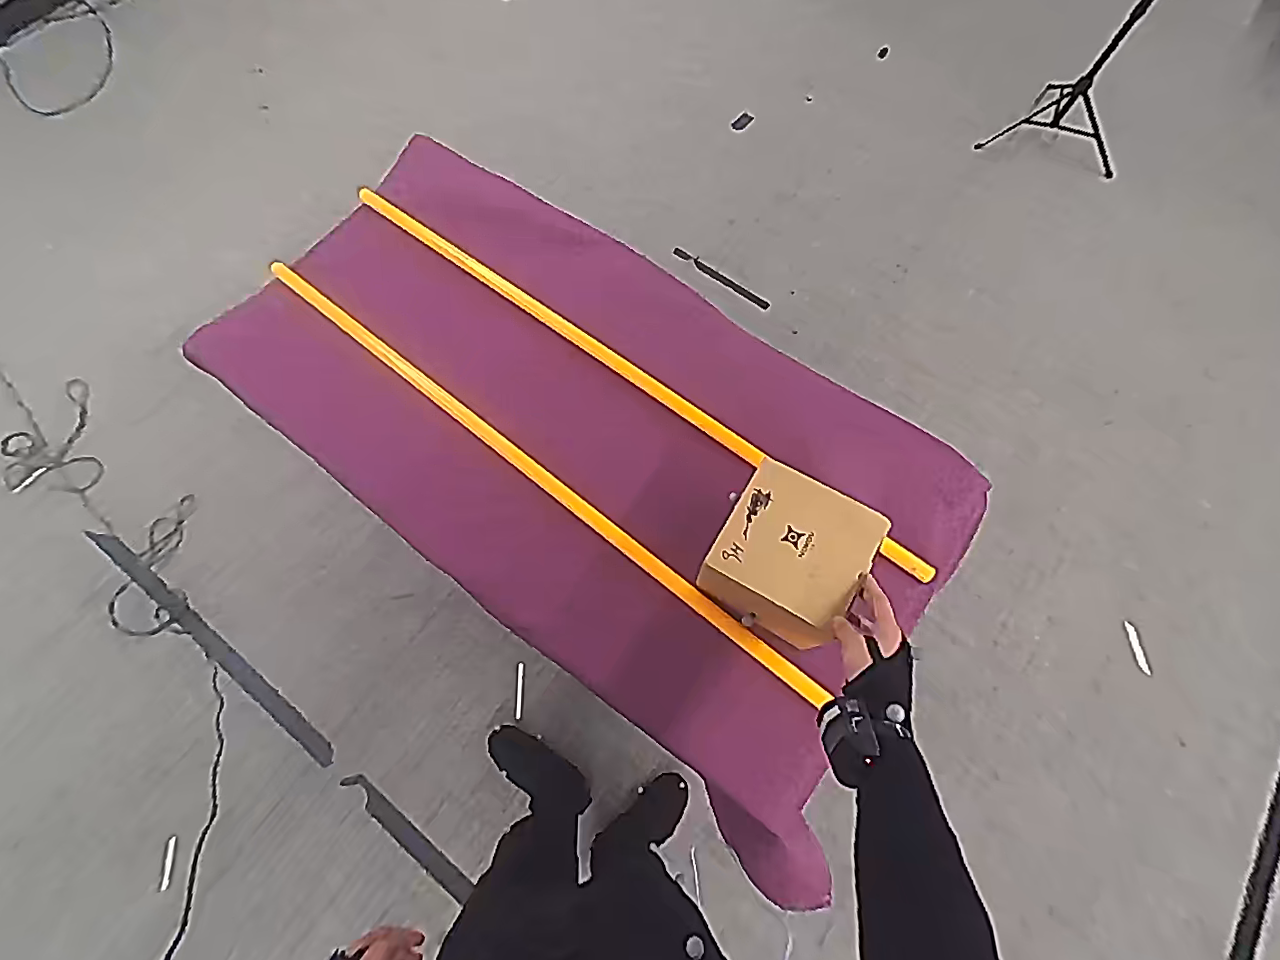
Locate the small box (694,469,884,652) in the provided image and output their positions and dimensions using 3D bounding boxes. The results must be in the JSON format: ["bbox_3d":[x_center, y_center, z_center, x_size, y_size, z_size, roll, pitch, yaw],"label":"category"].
[{"bbox_3d":[0.190,0.117,0.739,0.179,0.176,0.168,30,73,12],"label":"small box"}]
